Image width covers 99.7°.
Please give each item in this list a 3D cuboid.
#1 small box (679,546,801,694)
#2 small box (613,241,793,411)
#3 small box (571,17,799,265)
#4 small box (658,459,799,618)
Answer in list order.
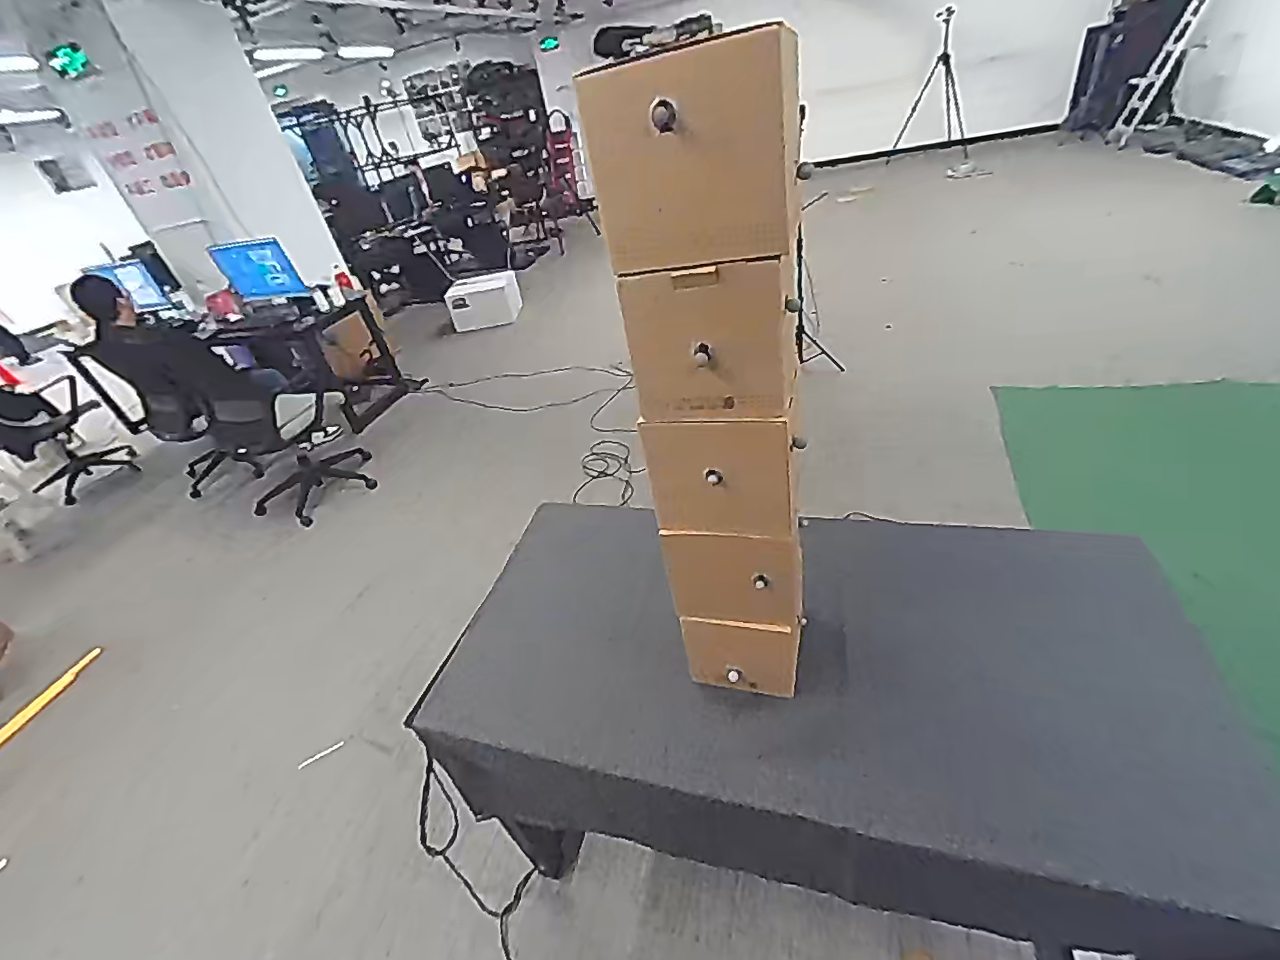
[{"bbox_3d":[0.172,0.217,0.890,0.168,0.176,0.179,2,38,21],"label":"small box"},{"bbox_3d":[0.087,-0.190,0.632,0.168,0.176,0.179,1,37,19],"label":"small box"},{"bbox_3d":[0.059,-0.322,0.536,0.179,0.176,0.168,2,36,20],"label":"small box"},{"bbox_3d":[0.140,0.085,0.801,0.179,0.176,0.168,1,36,19],"label":"small box"}]
